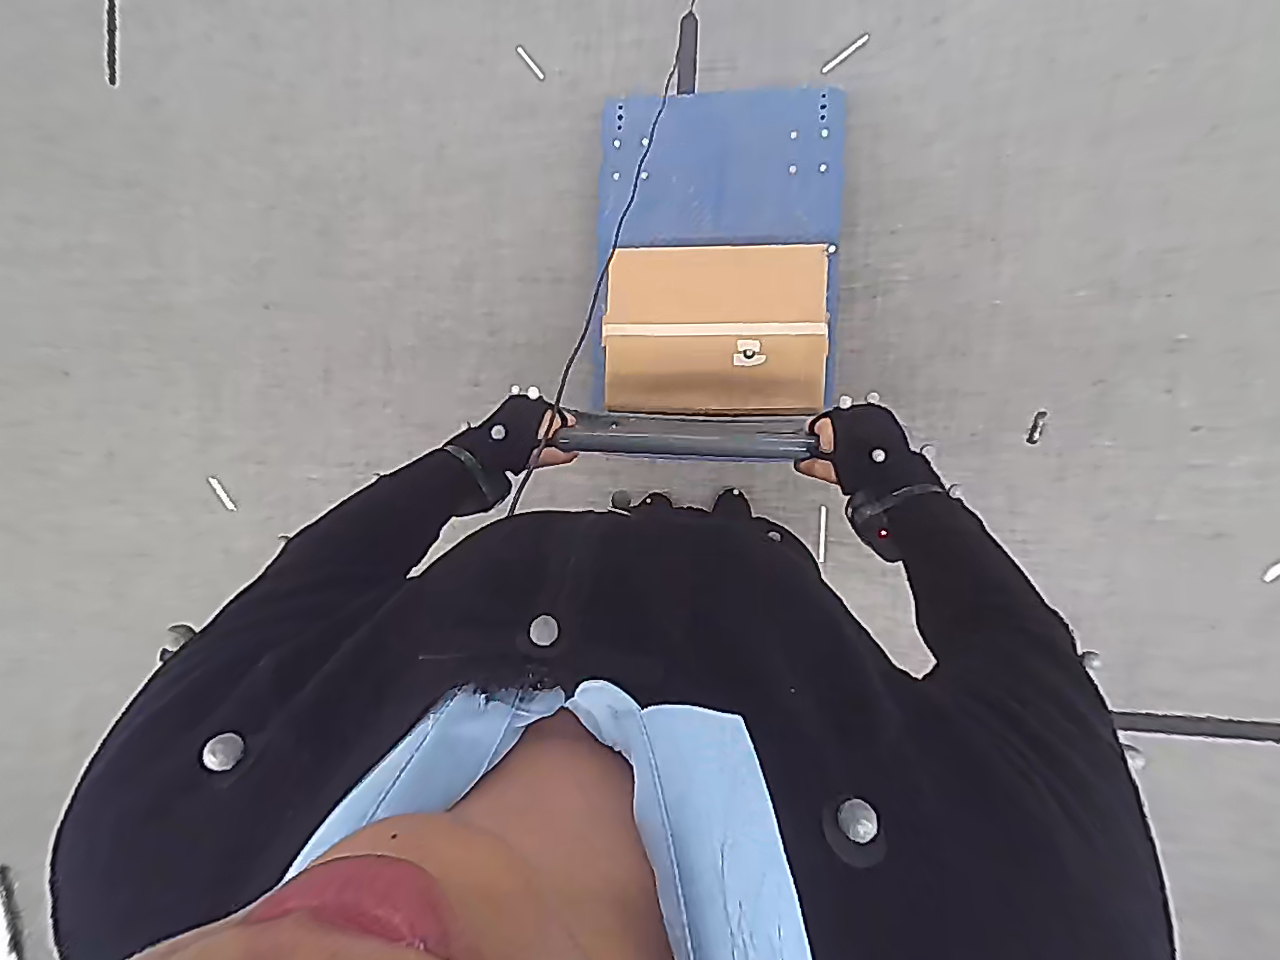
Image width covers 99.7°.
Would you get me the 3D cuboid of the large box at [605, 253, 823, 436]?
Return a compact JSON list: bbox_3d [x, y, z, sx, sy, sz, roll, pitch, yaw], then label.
[{"bbox_3d":[0.147,-0.261,1.148,0.408,0.320,0.320,2,90,7],"label":"large box"}]
